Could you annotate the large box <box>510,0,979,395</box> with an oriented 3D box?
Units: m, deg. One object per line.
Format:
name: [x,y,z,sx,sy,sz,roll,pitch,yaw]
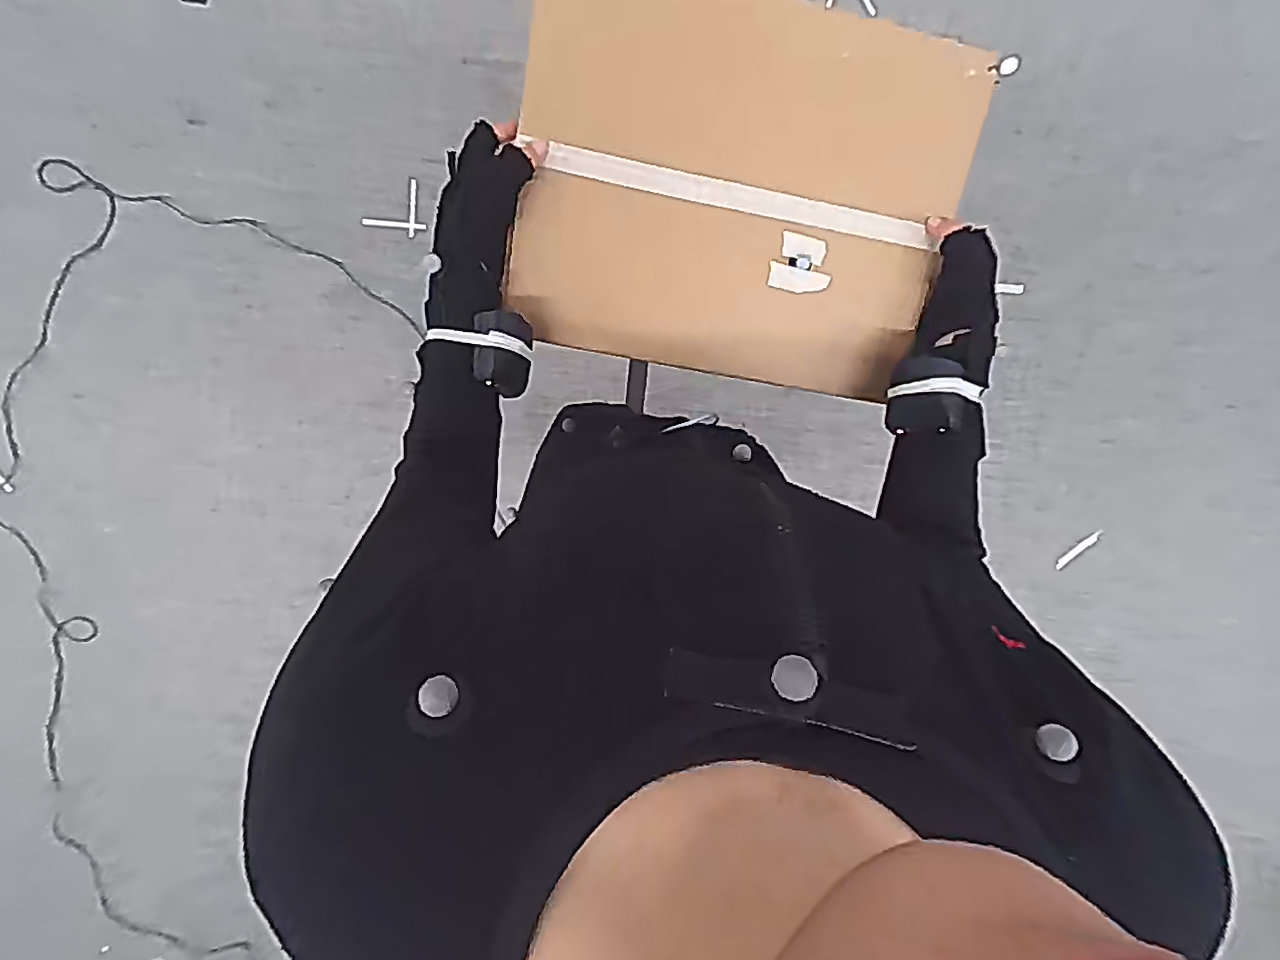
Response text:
large box: [0.077,-0.300,0.646,0.408,0.320,0.320,8,106,-8]
